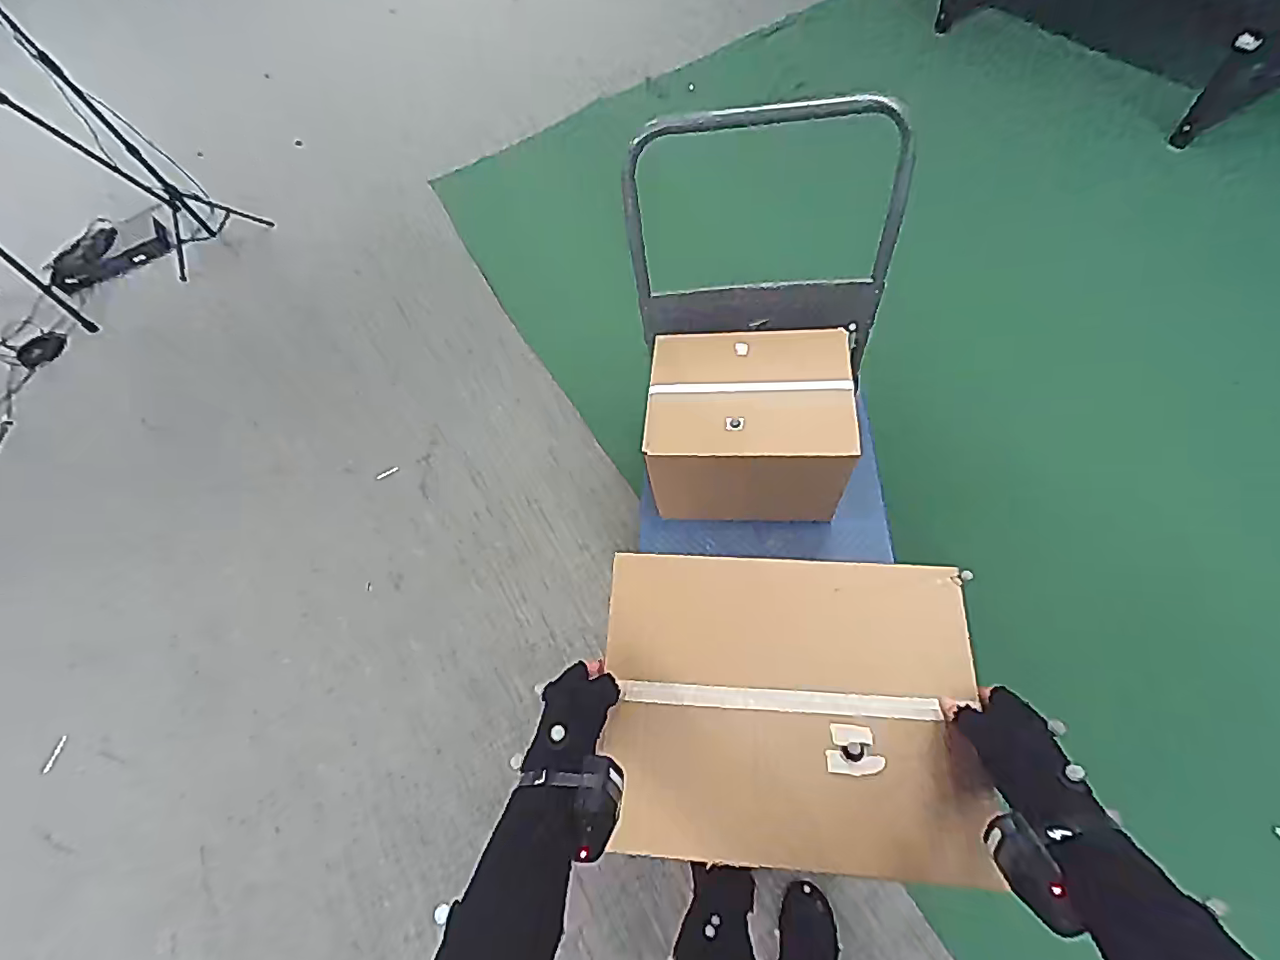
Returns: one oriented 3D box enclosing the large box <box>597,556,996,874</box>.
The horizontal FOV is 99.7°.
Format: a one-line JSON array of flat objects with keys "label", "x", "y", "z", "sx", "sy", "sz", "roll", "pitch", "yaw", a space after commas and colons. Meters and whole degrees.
[{"label": "large box", "x": 0.167, "y": 0.300, "z": 0.736, "sx": 0.408, "sy": 0.320, "sz": 0.320, "roll": 2, "pitch": 67, "yaw": 5}]
